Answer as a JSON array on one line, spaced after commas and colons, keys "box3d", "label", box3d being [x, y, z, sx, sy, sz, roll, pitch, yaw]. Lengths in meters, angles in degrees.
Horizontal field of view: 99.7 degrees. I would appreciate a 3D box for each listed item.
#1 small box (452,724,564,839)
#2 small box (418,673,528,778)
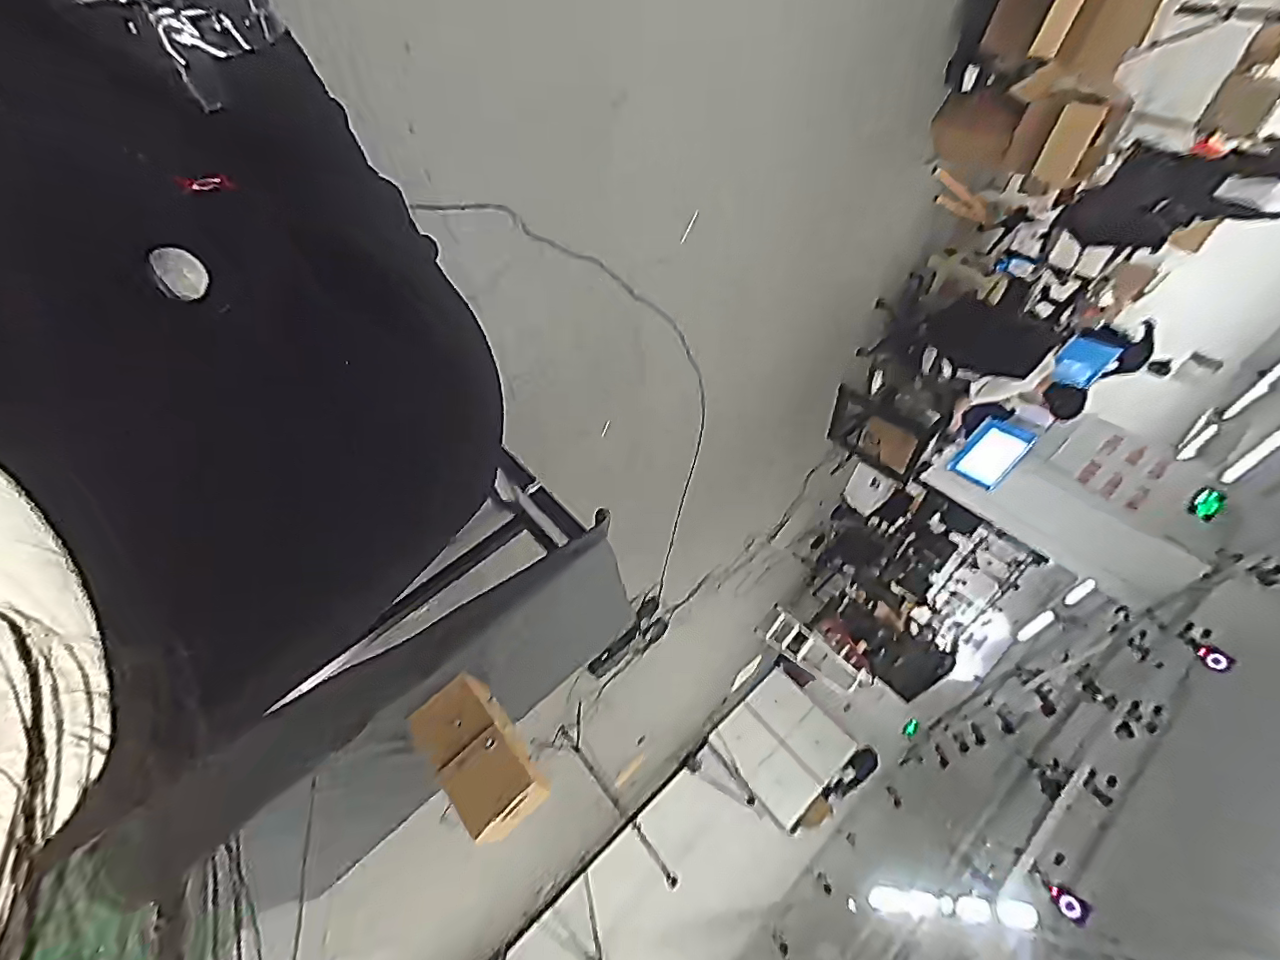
[{"box3d": [-0.308, 0.702, 1.267, 0.168, 0.176, 0.179, -39, 149, -17], "label": "small box"}, {"box3d": [-0.418, 0.616, 1.359, 0.179, 0.176, 0.168, -41, 150, -13], "label": "small box"}]
